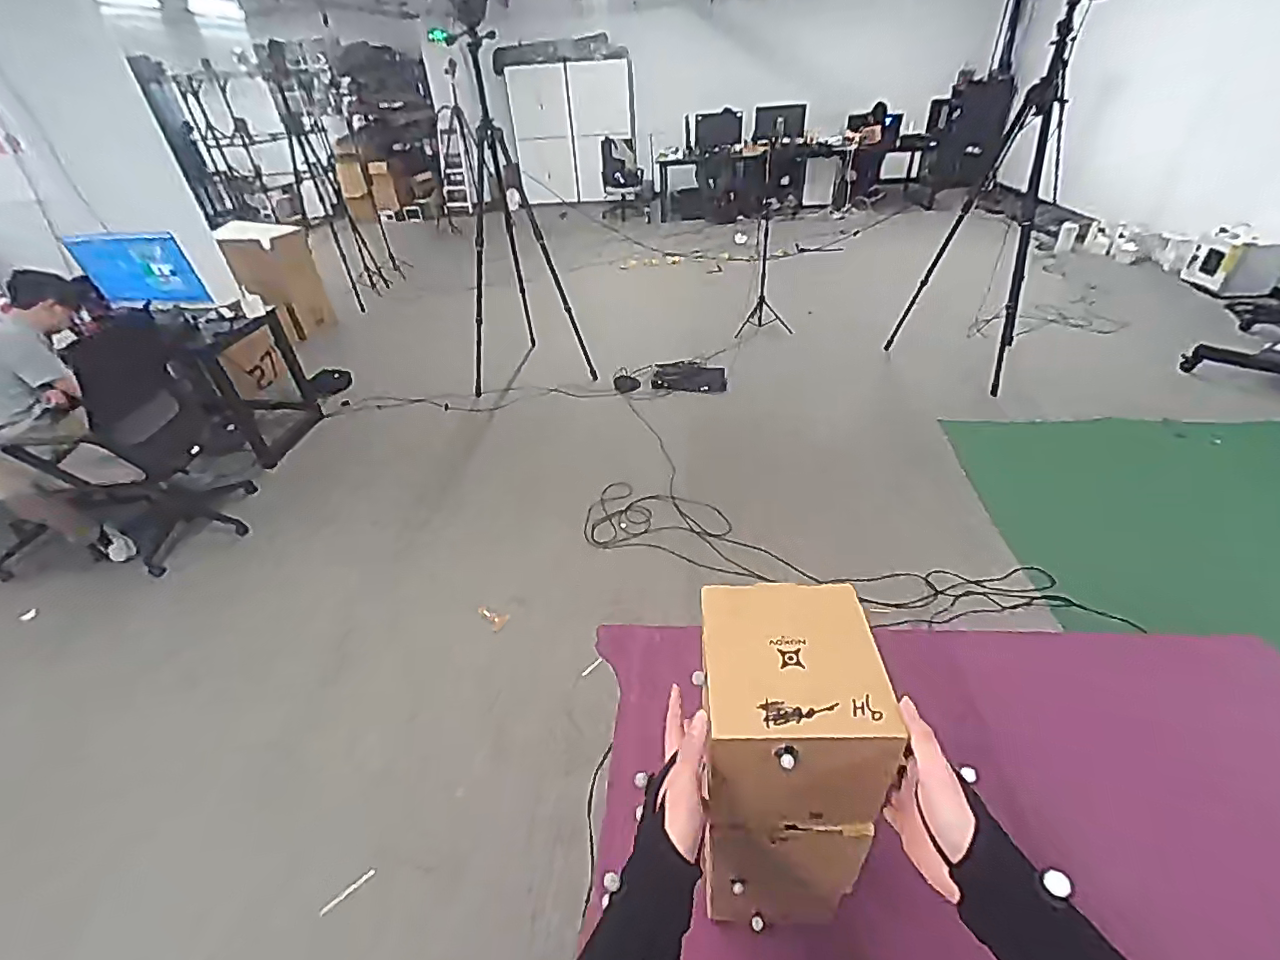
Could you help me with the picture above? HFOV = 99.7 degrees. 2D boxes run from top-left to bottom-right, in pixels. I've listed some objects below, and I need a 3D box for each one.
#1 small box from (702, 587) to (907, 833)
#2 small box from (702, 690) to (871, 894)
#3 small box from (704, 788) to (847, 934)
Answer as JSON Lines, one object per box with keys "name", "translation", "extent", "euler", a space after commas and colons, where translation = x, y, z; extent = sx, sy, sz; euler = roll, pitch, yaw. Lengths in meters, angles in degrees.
{"name": "small box", "translation": [0.150, 0.233, 0.564], "extent": [0.168, 0.176, 0.179], "euler": [-3, 35, 5]}
{"name": "small box", "translation": [0.162, 0.370, 0.654], "extent": [0.168, 0.176, 0.179], "euler": [-2, 35, 5]}
{"name": "small box", "translation": [0.175, 0.497, 0.757], "extent": [0.168, 0.176, 0.179], "euler": [-2, 37, 5]}
